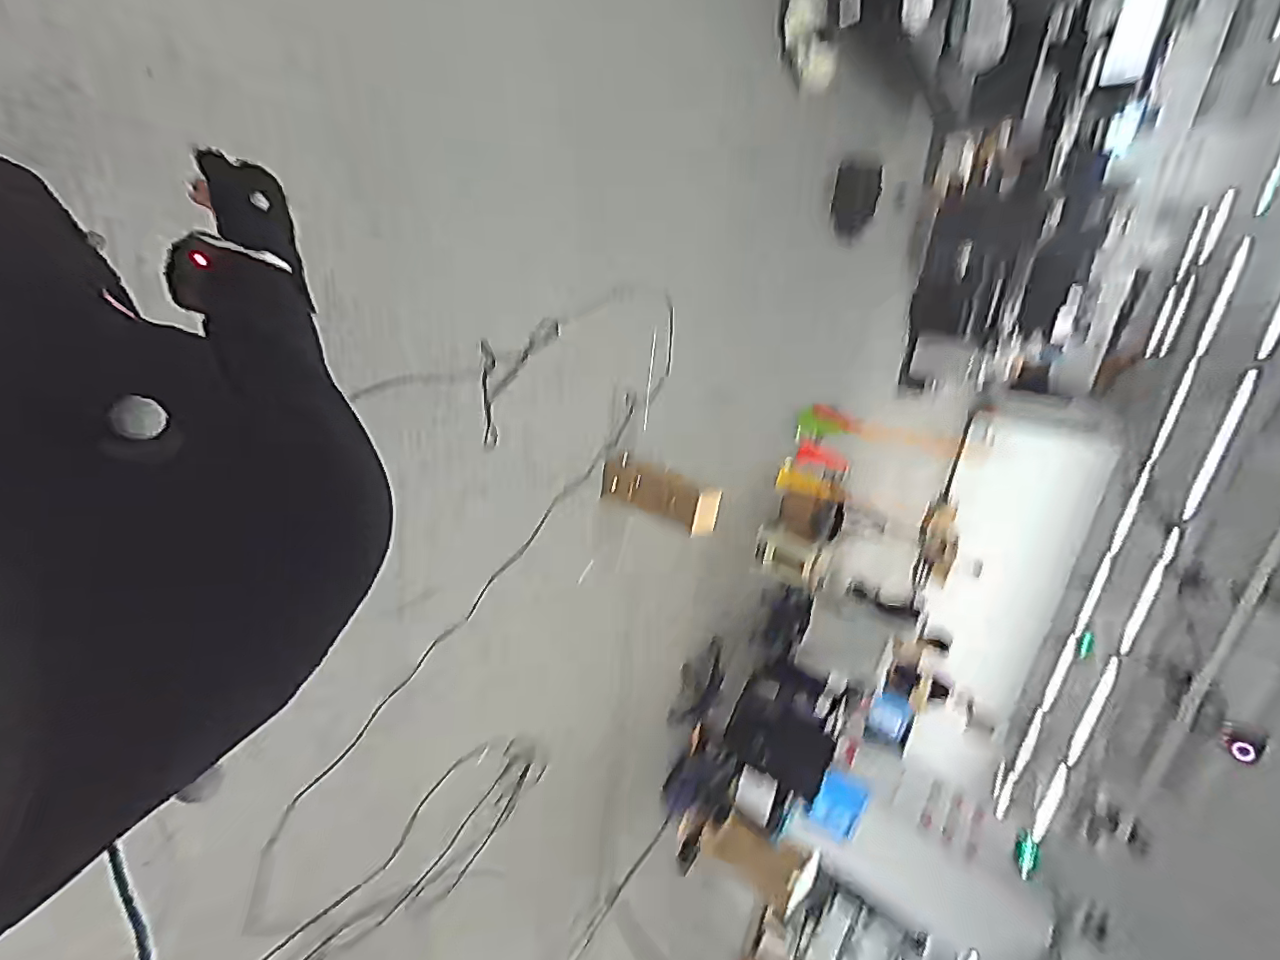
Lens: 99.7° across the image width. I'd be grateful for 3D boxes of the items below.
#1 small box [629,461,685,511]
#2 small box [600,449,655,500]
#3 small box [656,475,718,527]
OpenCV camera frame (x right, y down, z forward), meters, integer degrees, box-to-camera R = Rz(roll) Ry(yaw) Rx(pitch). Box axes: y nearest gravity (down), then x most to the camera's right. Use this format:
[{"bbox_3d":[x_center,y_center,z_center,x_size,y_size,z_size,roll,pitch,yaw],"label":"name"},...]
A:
[{"bbox_3d":[0.070,0.024,2.337,0.179,0.176,0.168,-15,119,-51],"label":"small box"},{"bbox_3d":[-0.060,-0.028,2.426,0.179,0.176,0.168,-17,124,-47],"label":"small box"},{"bbox_3d":[0.193,0.080,2.246,0.179,0.176,0.168,-7,112,-52],"label":"small box"}]
